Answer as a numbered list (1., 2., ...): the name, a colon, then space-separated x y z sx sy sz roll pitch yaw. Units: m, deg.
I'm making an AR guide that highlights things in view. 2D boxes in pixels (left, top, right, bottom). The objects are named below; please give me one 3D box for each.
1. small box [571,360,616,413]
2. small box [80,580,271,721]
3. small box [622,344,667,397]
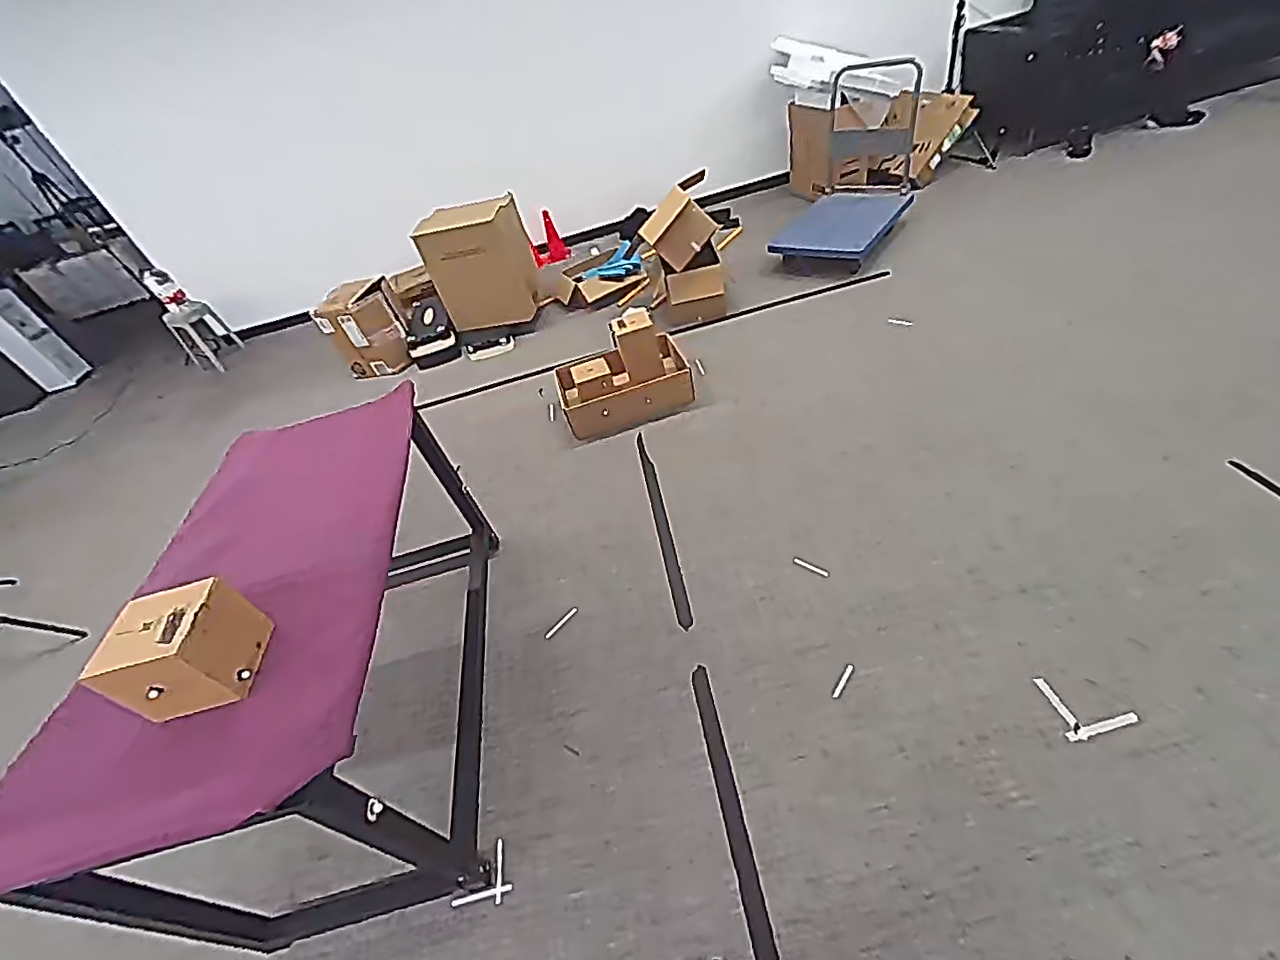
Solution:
1. small box: -0.224 -0.454 2.641 0.179 0.176 0.168 -19 41 -4
2. small box: -0.836 0.316 1.000 0.179 0.176 0.168 -16 41 1
3. small box: 0.023 -0.535 2.653 0.168 0.176 0.179 -19 42 -1
